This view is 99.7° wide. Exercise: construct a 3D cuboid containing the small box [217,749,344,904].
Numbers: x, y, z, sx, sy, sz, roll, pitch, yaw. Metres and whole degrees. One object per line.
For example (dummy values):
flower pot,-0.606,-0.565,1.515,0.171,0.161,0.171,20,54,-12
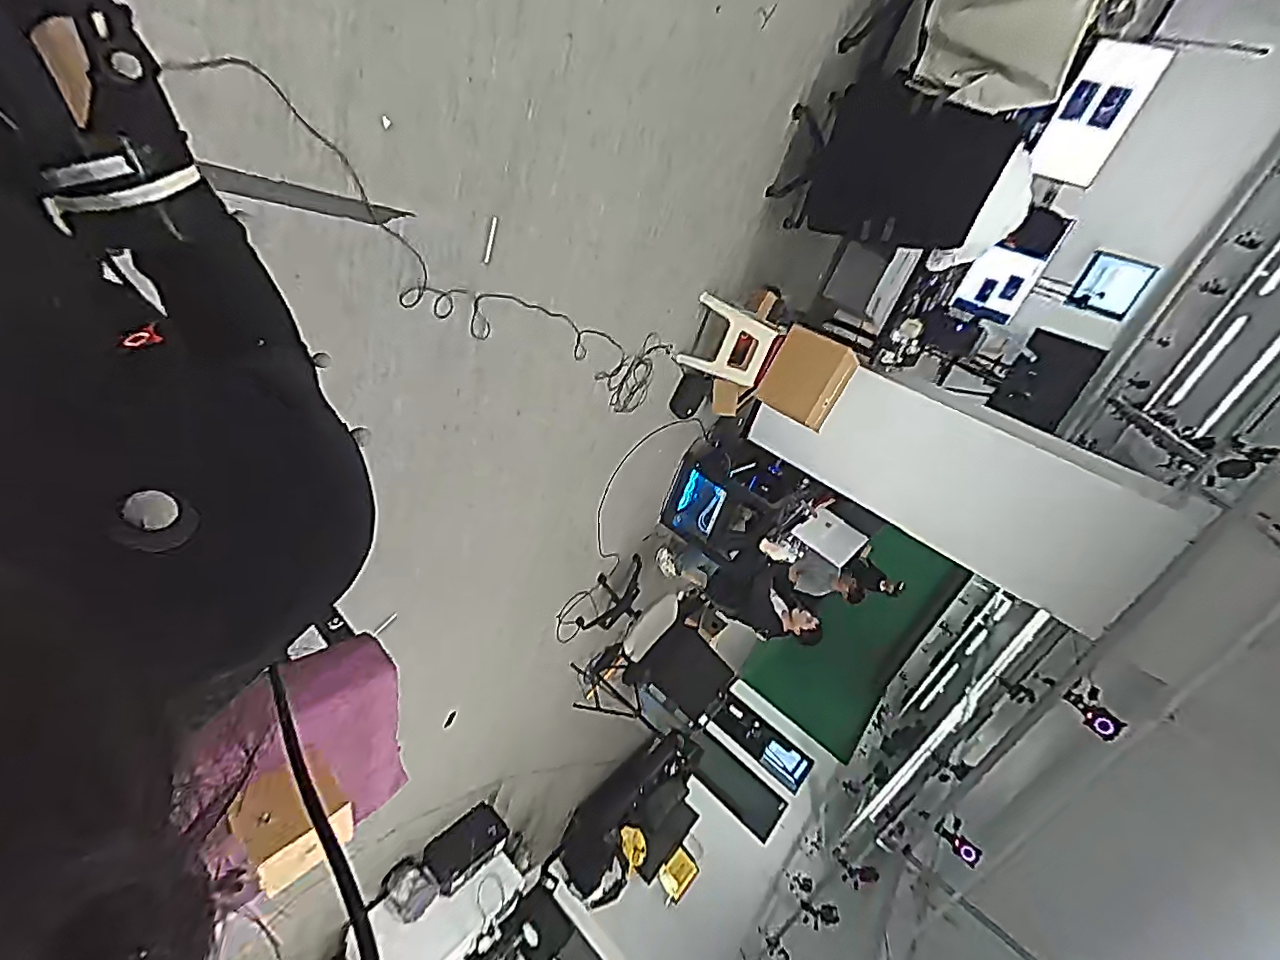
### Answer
small box,-0.752,0.716,1.131,0.179,0.176,0.168,-25,142,-46
